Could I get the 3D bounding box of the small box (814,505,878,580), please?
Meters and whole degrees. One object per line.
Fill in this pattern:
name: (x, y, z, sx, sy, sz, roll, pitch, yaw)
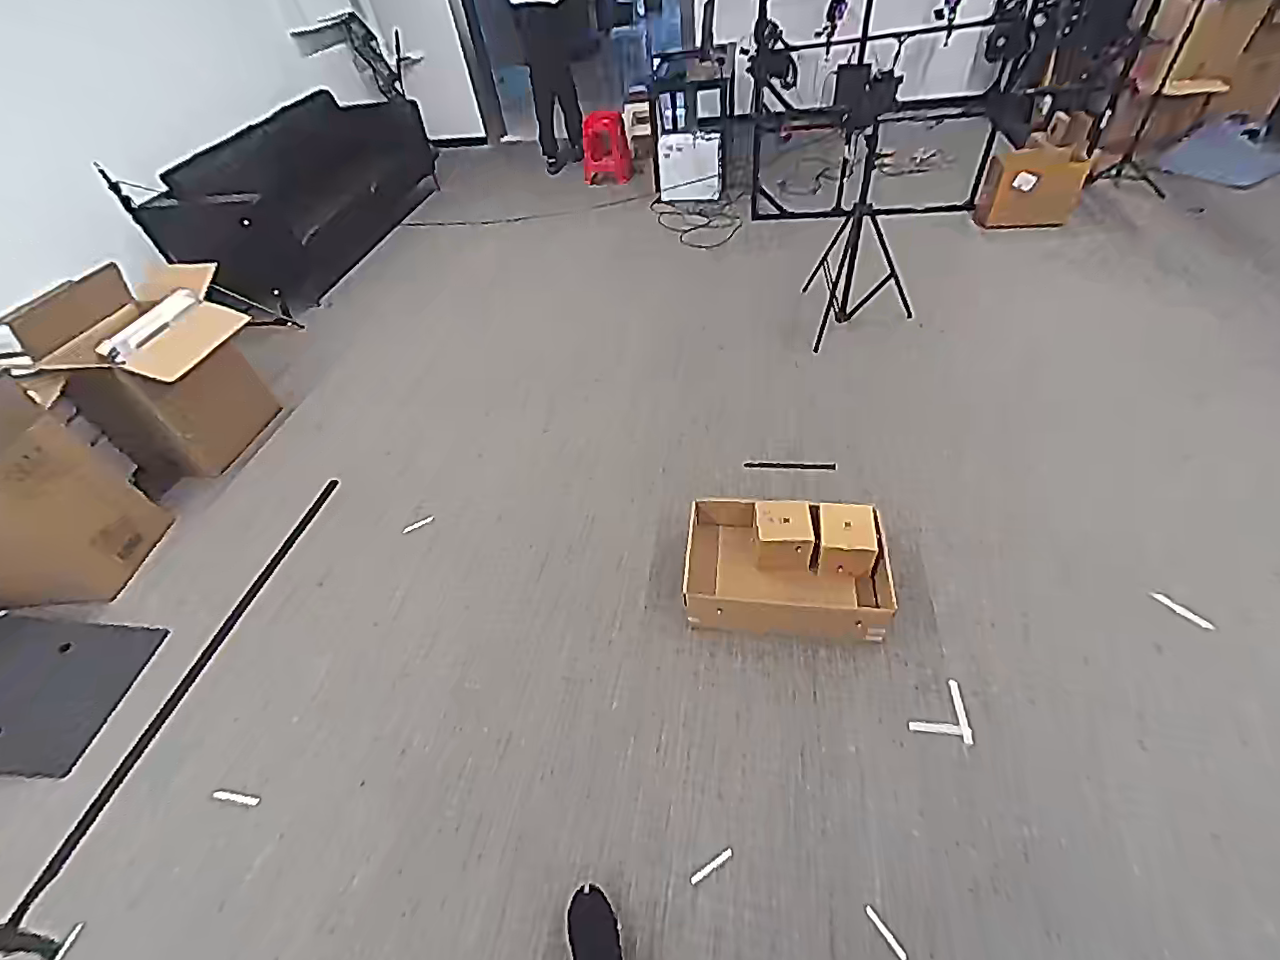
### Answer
small box: (0.666, 0.204, 1.768, 0.168, 0.176, 0.179, 2, 50, 12)
